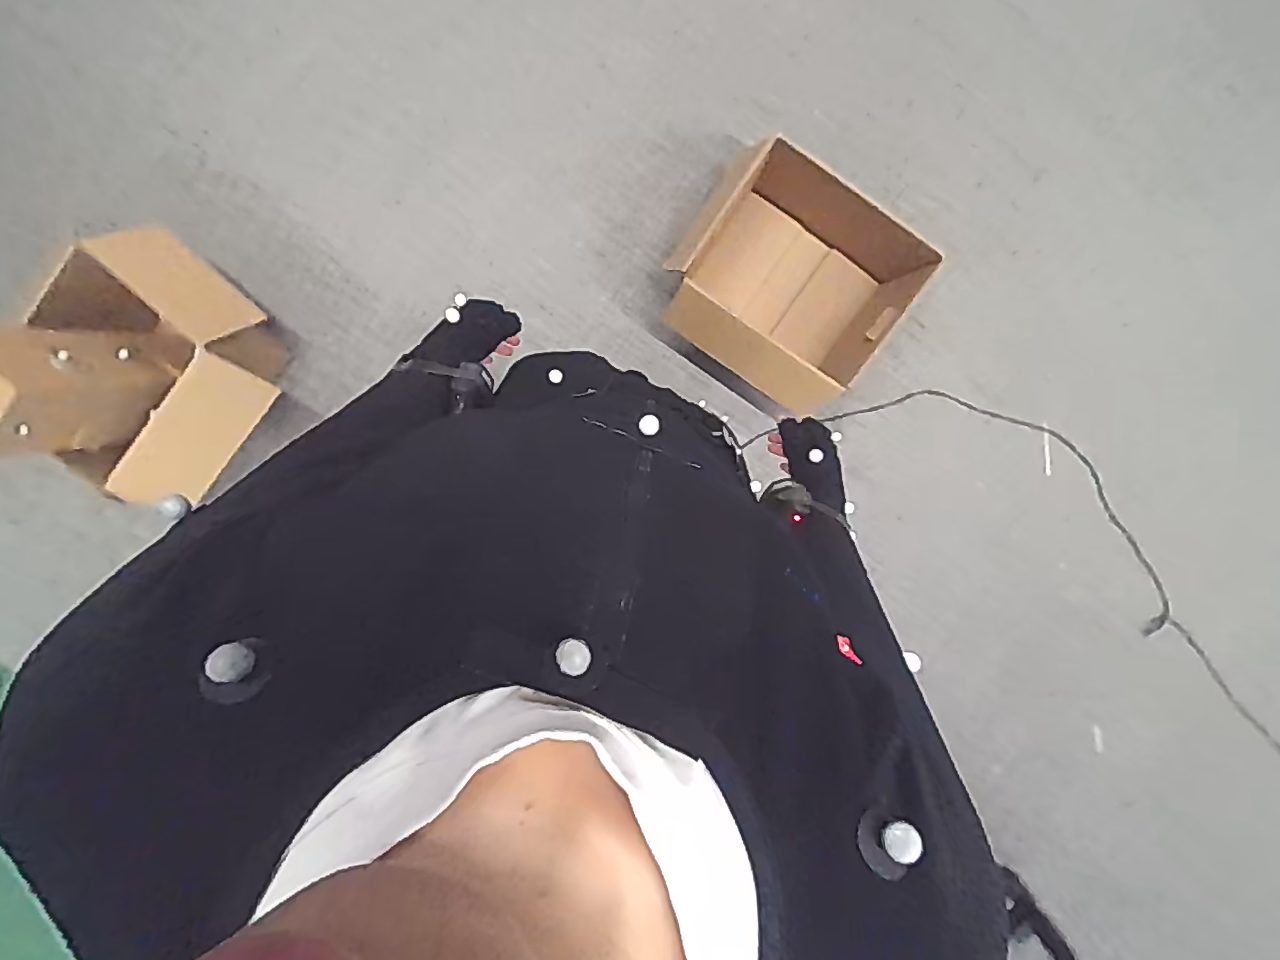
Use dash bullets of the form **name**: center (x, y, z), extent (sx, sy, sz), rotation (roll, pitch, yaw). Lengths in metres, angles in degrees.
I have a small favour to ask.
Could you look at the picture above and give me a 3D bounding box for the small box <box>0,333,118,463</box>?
- **small box**: center (-1.152, -0.156, 1.012), extent (0.168, 0.176, 0.179), rotation (40, 102, -8)
